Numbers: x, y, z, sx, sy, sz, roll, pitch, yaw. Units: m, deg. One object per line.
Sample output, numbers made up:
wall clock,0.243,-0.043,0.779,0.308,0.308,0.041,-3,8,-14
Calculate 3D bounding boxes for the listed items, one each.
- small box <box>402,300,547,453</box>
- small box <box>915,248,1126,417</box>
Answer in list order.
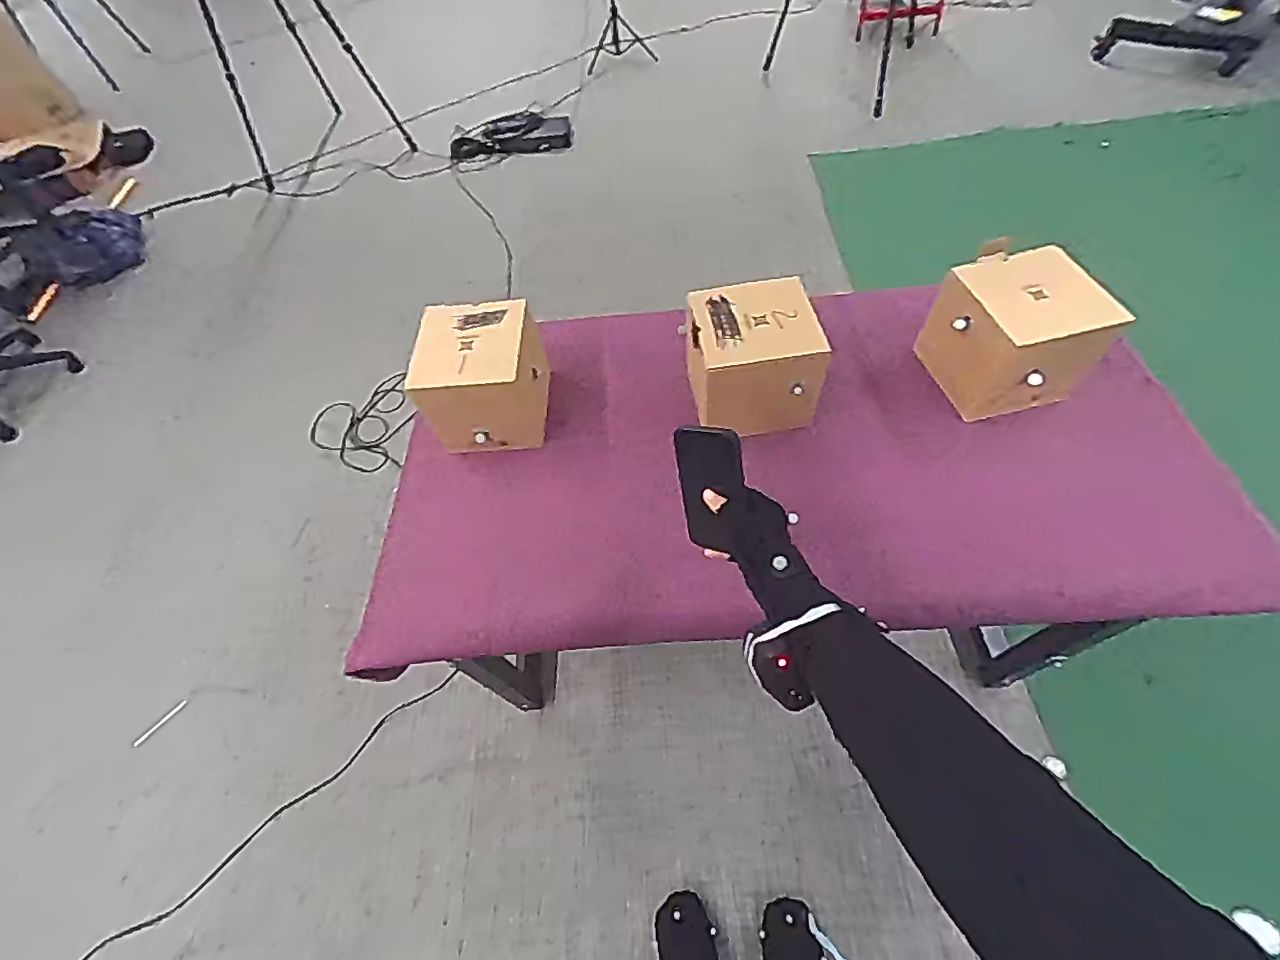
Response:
small box,-0.253,-0.164,0.876,0.168,0.176,0.179,-3,59,4
small box,0.558,-0.214,0.825,0.168,0.176,0.179,-13,56,-2
